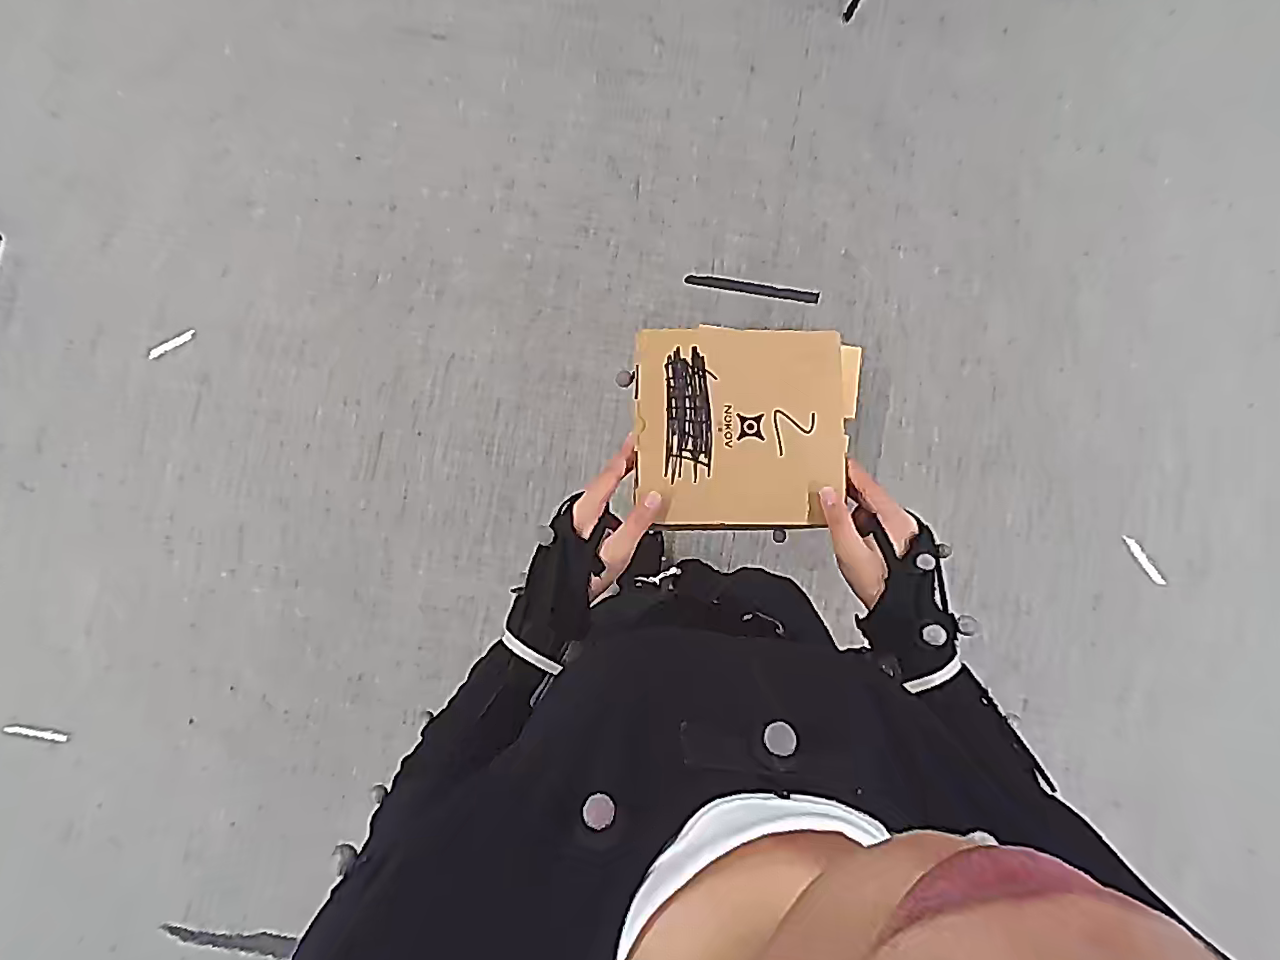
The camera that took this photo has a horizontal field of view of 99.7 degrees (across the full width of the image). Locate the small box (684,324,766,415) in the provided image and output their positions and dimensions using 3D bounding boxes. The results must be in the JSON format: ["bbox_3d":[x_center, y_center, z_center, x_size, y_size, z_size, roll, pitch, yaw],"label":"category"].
[{"bbox_3d":[0.205,-0.268,1.353,0.168,0.176,0.179,8,85,-1],"label":"small box"}]
